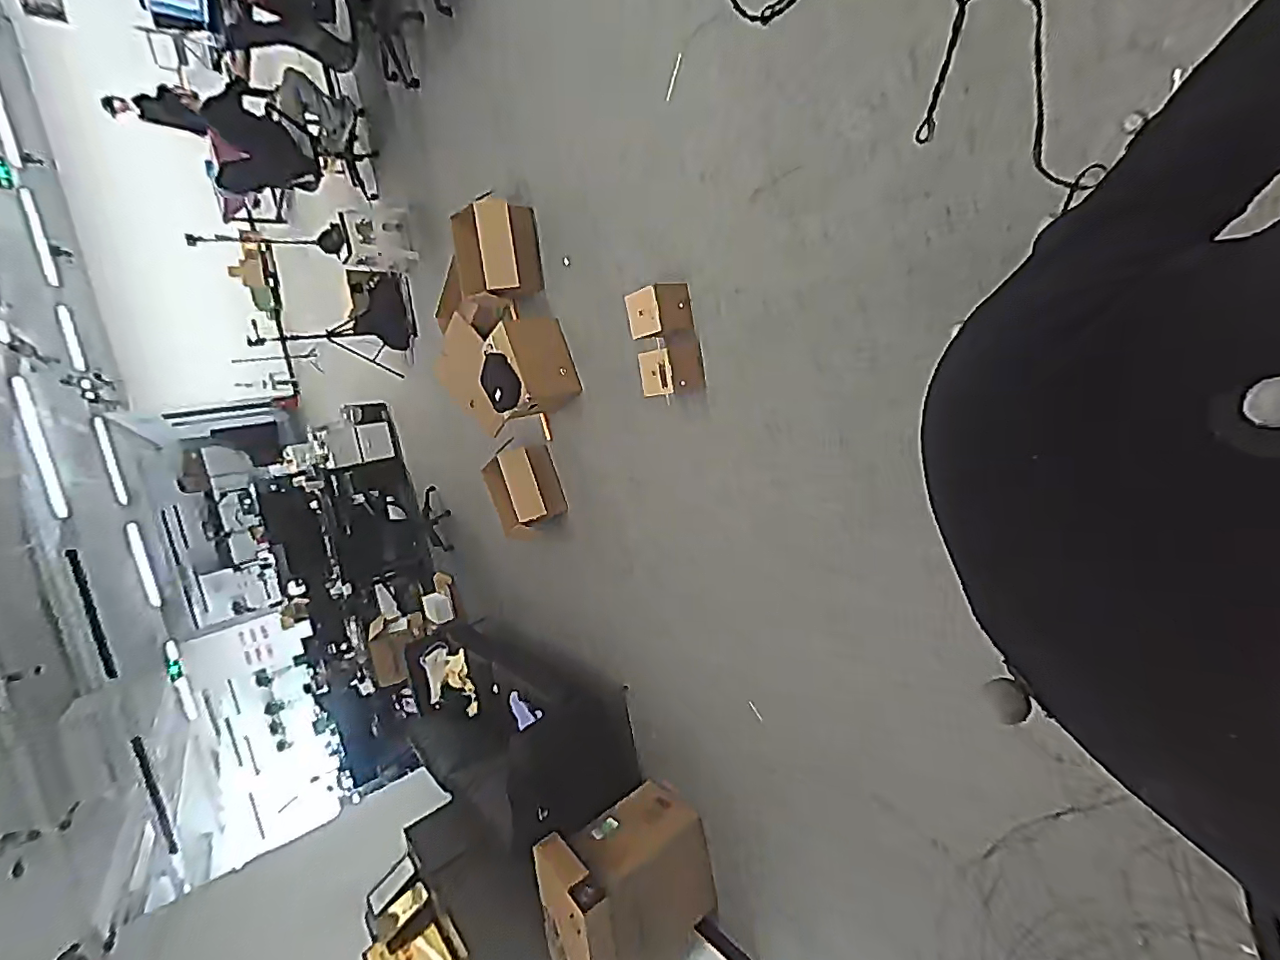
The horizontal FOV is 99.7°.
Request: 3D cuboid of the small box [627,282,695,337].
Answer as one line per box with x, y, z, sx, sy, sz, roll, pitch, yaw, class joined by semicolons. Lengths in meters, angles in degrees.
0.080;-0.642;2.040;0.179;0.176;0.168;0;104;52;small box
